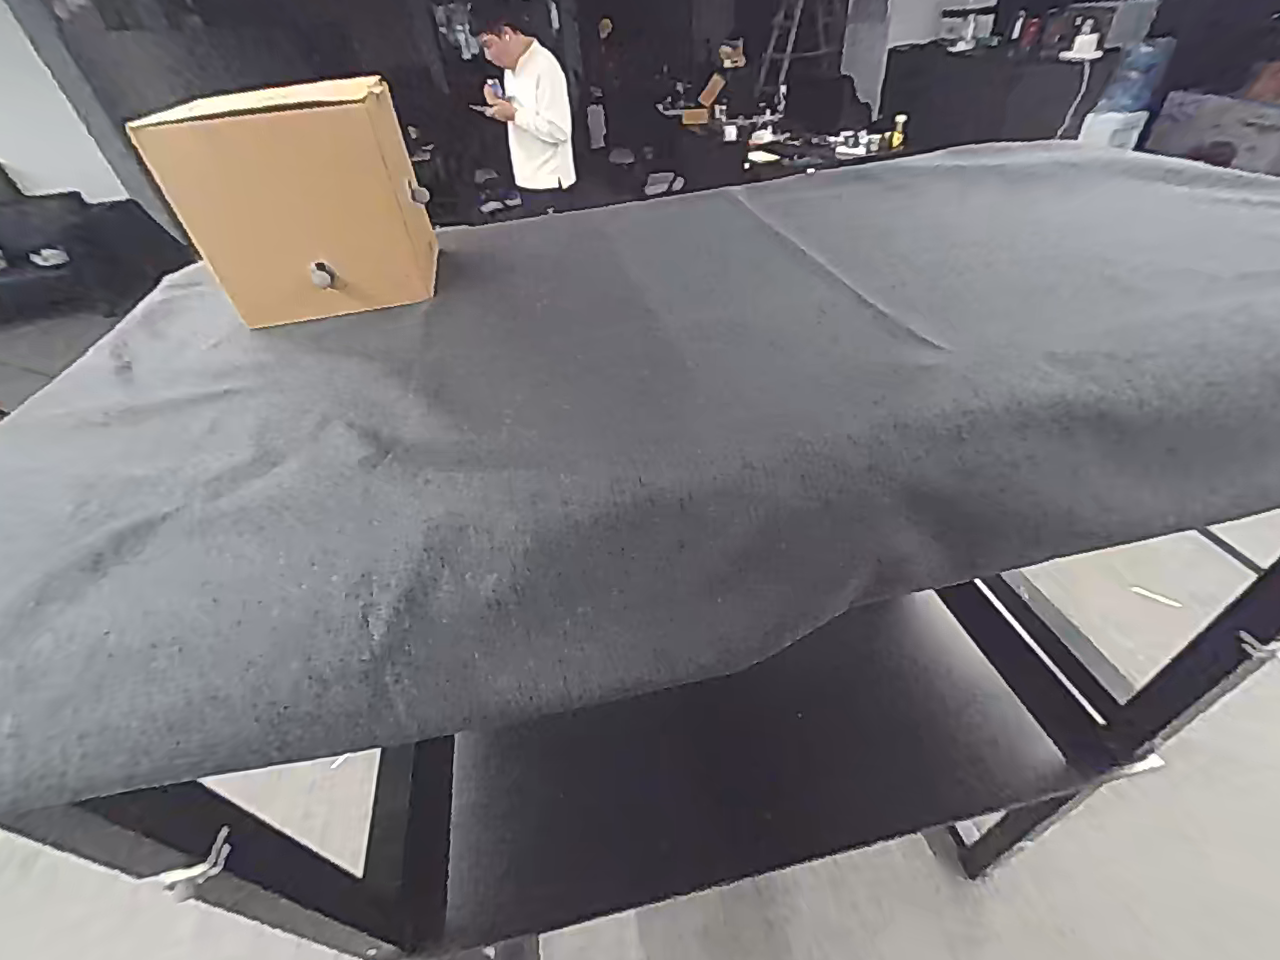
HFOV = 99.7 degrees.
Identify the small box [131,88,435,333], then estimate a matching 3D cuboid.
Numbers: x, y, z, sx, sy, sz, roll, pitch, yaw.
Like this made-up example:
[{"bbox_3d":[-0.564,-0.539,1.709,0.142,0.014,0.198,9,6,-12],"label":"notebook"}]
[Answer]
[{"bbox_3d":[-0.312,-0.263,0.527,0.179,0.176,0.168,-12,41,-8],"label":"small box"}]
